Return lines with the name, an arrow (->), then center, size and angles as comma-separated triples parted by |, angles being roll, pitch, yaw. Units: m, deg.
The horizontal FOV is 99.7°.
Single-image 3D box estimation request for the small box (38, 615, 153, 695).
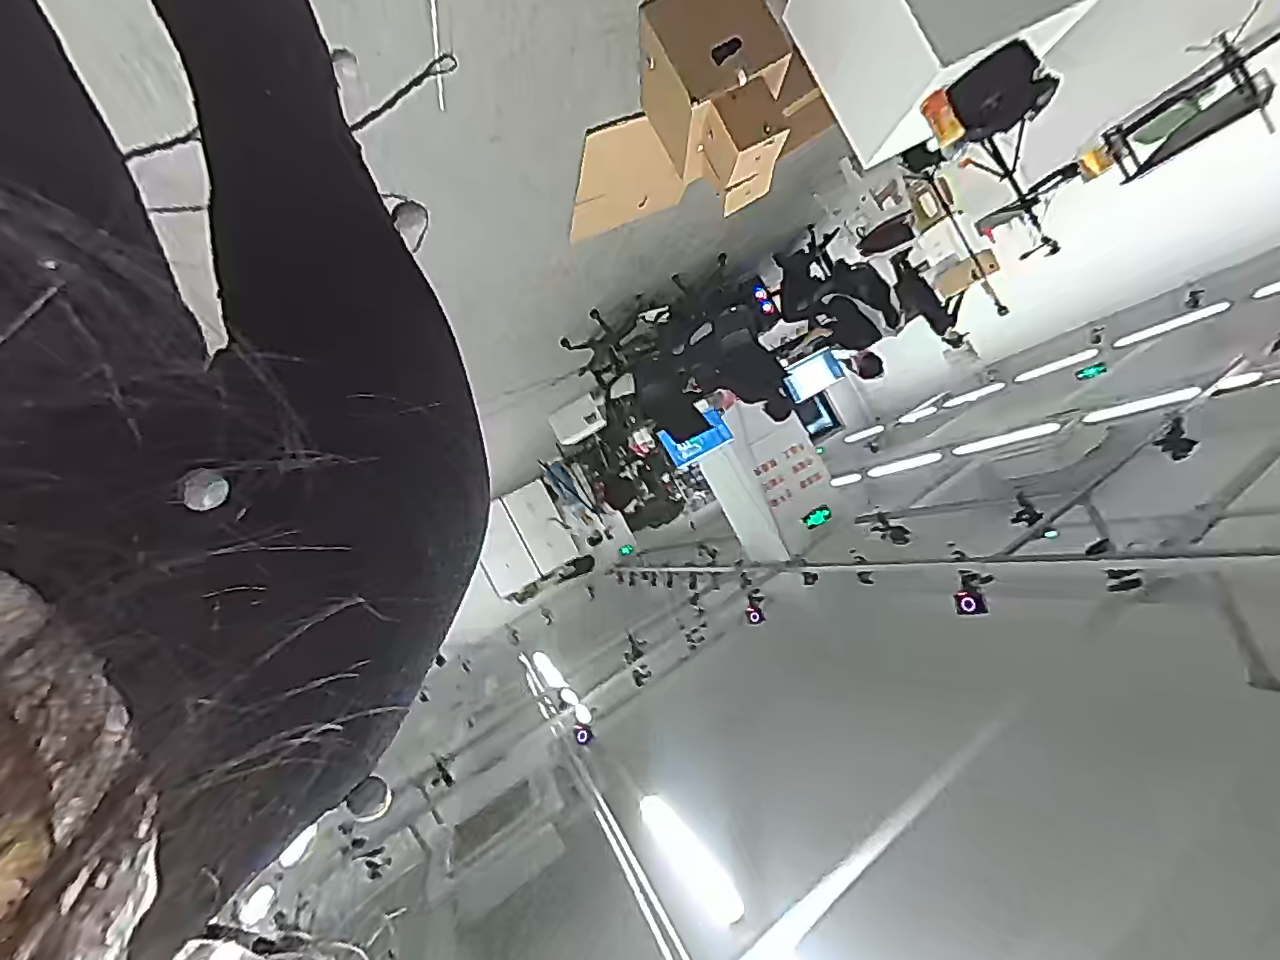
small box -> -1.693, 0.536, 1.689 | 0.168, 0.176, 0.179 | -28, 180, -20
